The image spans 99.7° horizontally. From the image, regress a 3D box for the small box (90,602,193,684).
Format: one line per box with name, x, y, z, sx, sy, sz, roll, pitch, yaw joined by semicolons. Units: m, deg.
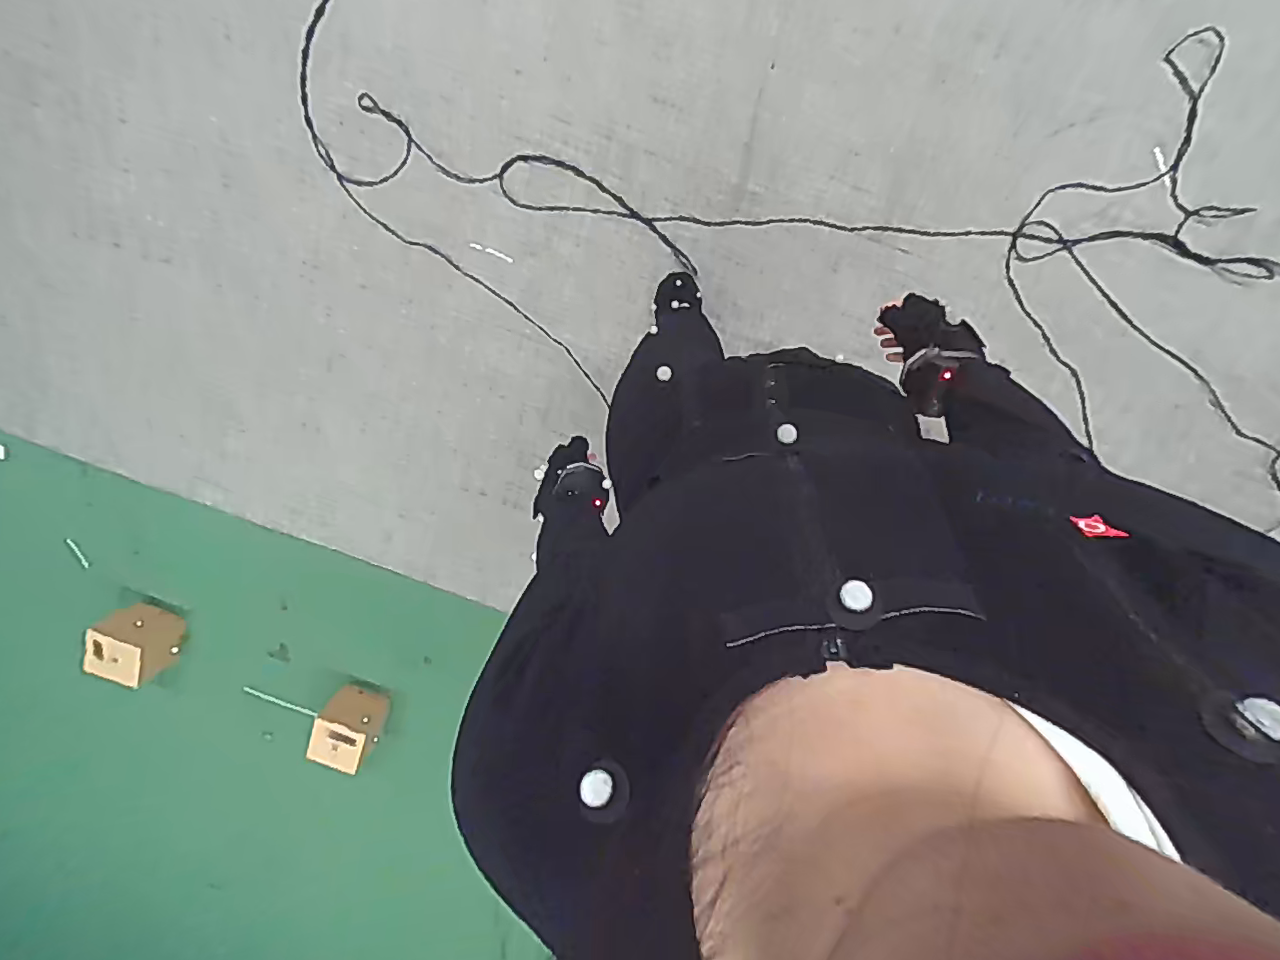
small box;-1.610;0.519;1.750;0.179;0.176;0.168;21;109;-2
